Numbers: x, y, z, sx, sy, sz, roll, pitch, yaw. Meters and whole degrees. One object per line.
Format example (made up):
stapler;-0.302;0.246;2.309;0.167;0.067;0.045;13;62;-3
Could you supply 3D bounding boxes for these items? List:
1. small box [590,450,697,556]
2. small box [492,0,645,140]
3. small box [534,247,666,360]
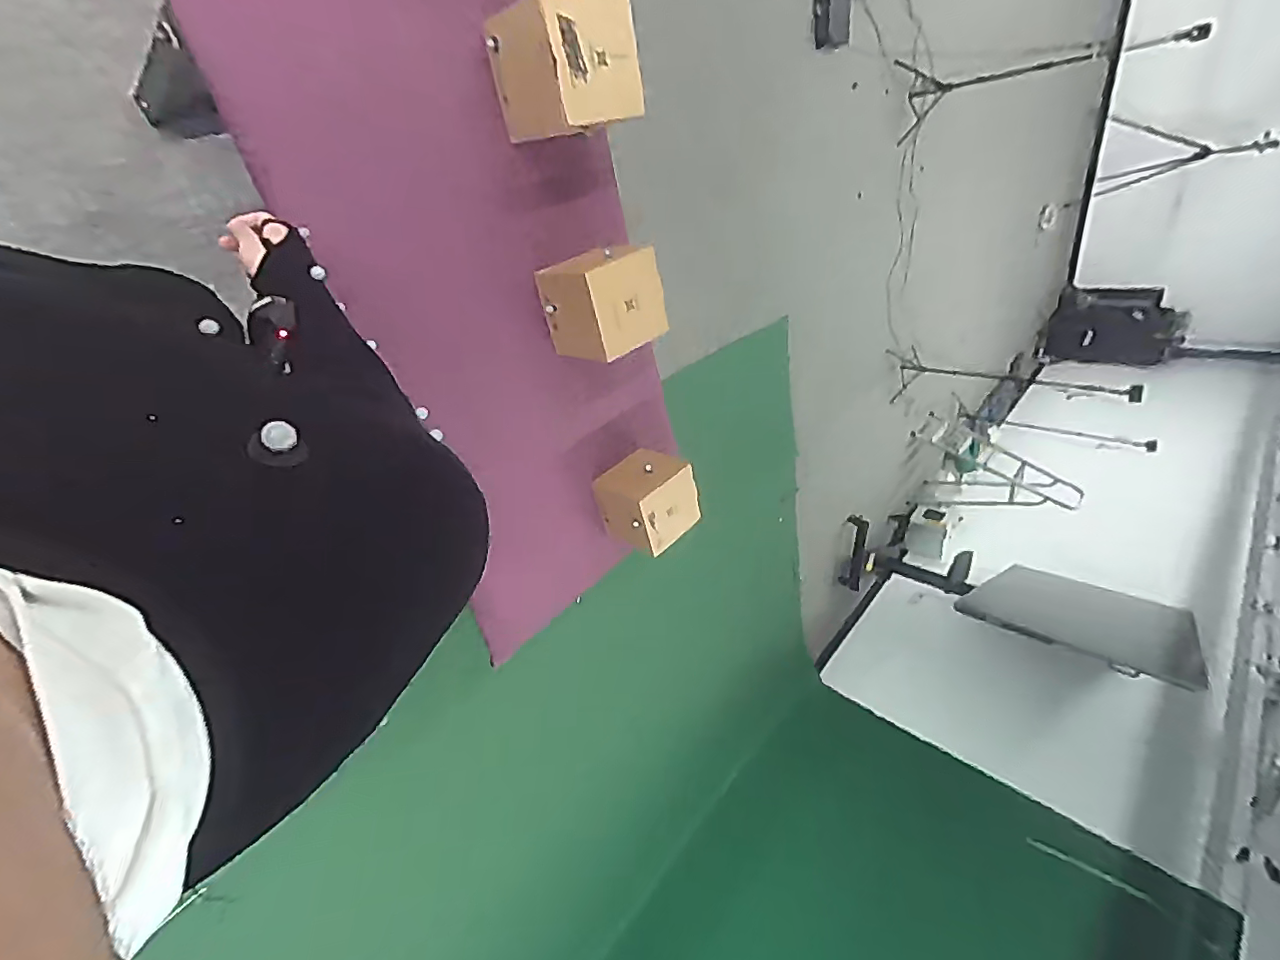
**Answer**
small box;0.009;0.046;1.301;0.179;0.176;0.168;-37;128;-32
small box;-0.120;-0.671;0.884;0.179;0.176;0.168;-33;128;-33
small box;-0.076;-0.351;1.061;0.179;0.176;0.168;-35;127;-32
